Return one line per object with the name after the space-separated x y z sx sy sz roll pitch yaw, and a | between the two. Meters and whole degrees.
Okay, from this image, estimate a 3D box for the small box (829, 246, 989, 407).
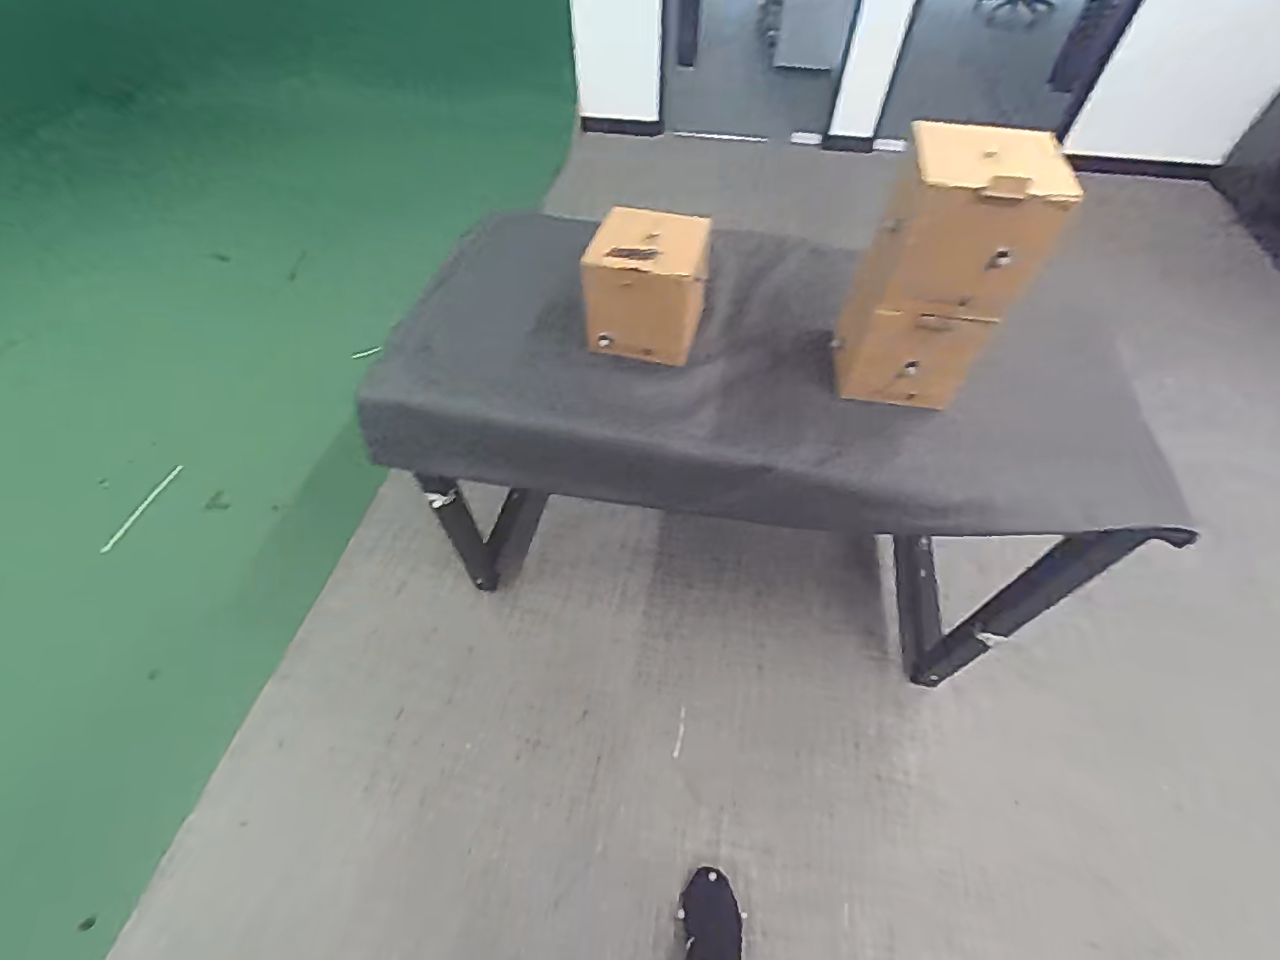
0.402 -0.235 0.844 0.168 0.176 0.179 8 54 5 | small box

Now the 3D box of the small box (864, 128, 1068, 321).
0.407 -0.333 0.713 0.168 0.176 0.179 10 53 7 | small box

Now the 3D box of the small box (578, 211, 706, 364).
0.008 -0.318 0.903 0.168 0.176 0.179 12 53 8 | small box
